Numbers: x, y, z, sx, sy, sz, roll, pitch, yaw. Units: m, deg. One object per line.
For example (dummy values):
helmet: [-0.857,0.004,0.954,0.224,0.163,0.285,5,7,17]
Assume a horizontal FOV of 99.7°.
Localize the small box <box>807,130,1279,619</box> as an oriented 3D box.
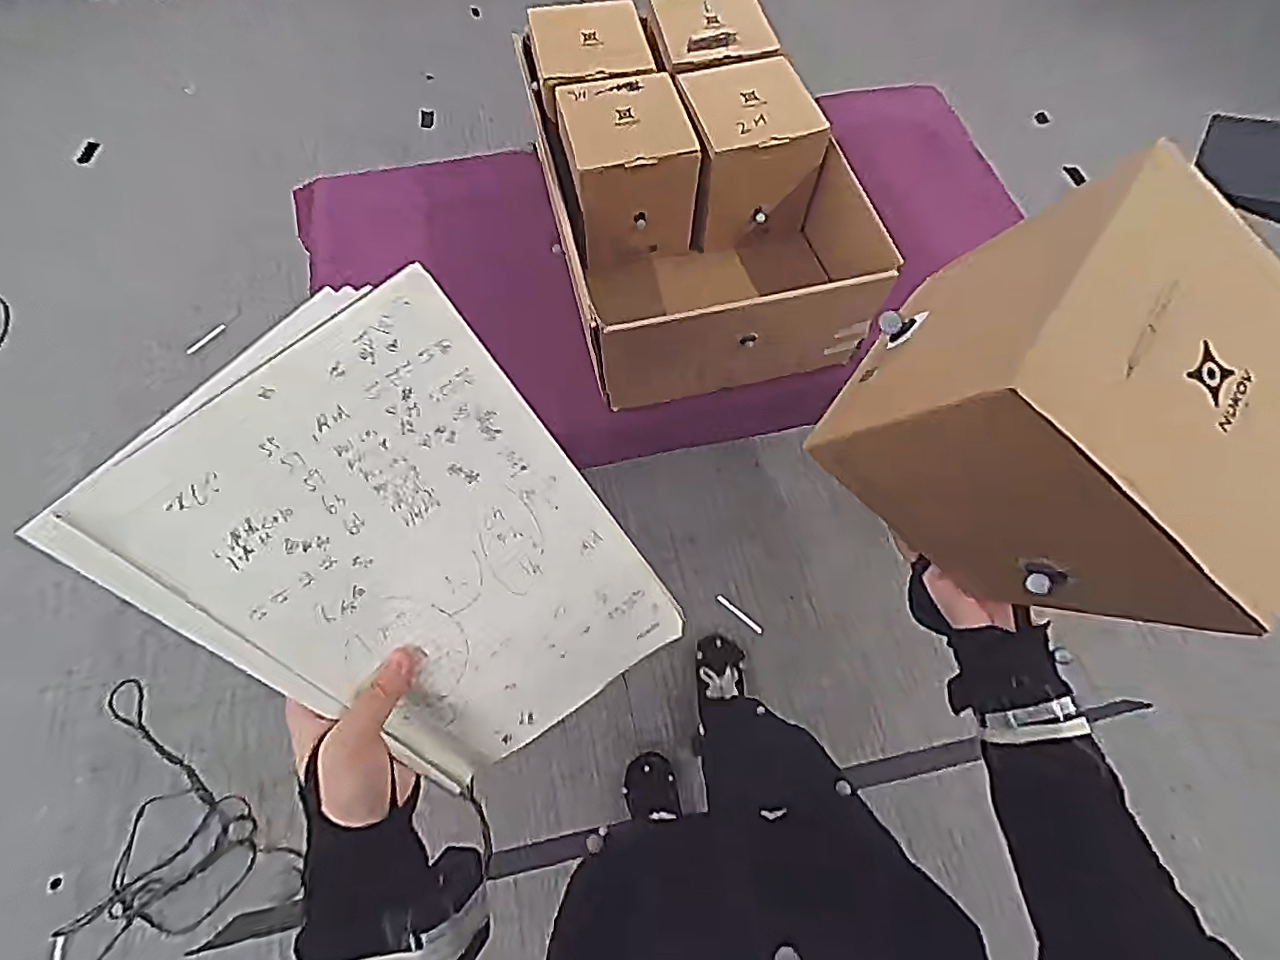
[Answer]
small box: [0.242,-0.045,0.327,0.179,0.176,0.168,39,77,-6]
